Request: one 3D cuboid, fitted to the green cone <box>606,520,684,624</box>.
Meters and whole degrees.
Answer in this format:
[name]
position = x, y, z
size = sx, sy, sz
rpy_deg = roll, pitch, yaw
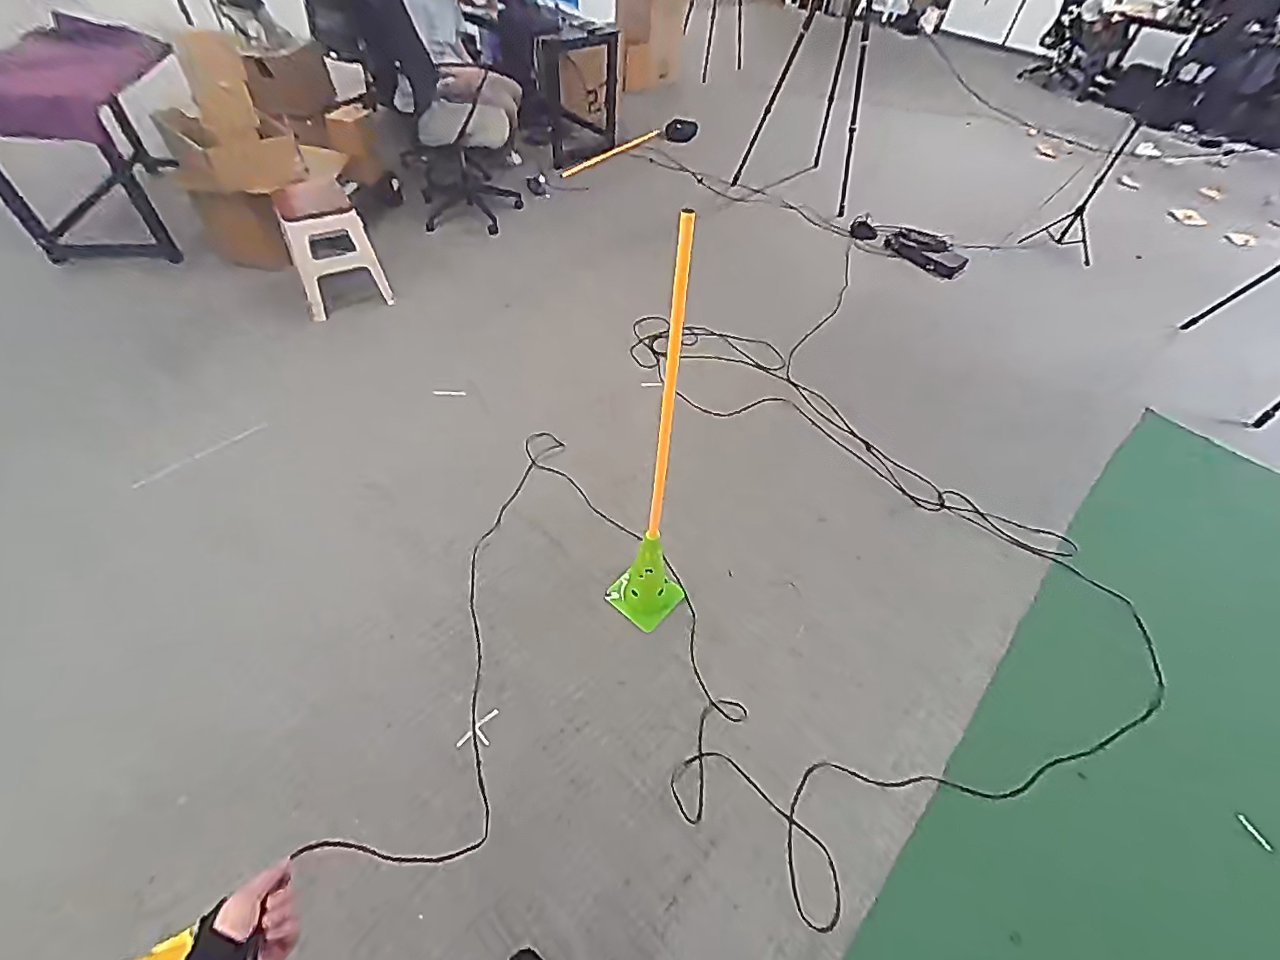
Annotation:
[green cone]
position = 0.031, 0.245, 1.640
size = 0.200, 0.368, 0.202
rpy_deg = 35, 55, 22
